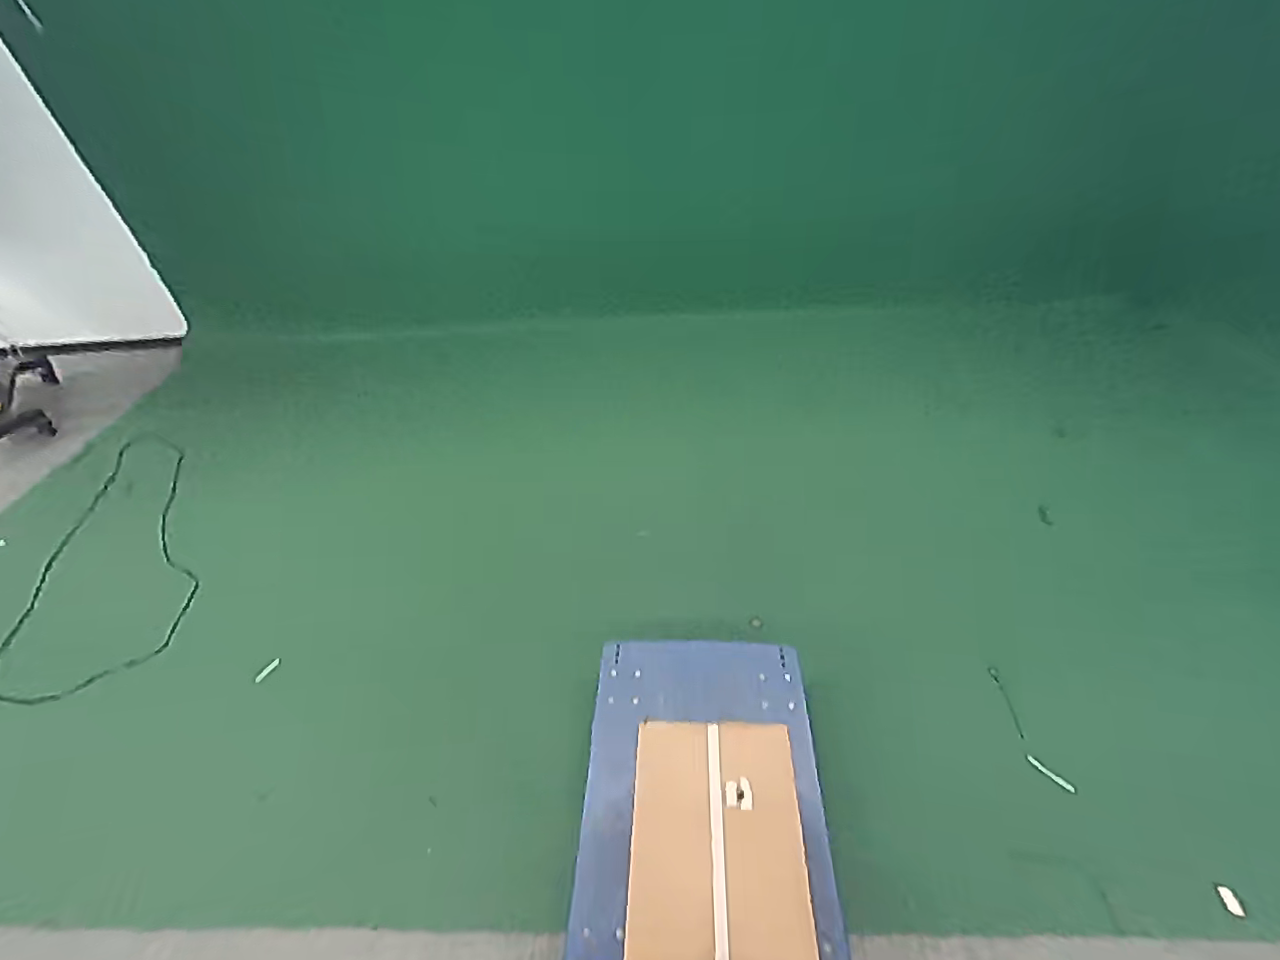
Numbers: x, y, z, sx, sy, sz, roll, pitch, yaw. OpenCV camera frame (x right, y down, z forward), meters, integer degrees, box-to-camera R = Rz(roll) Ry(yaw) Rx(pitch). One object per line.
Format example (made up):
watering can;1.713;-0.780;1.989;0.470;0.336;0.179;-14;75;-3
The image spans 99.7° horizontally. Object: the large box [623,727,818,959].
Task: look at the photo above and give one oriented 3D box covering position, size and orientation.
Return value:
large box;0.145;0.770;1.090;0.320;0.320;0.408;0;41;4
